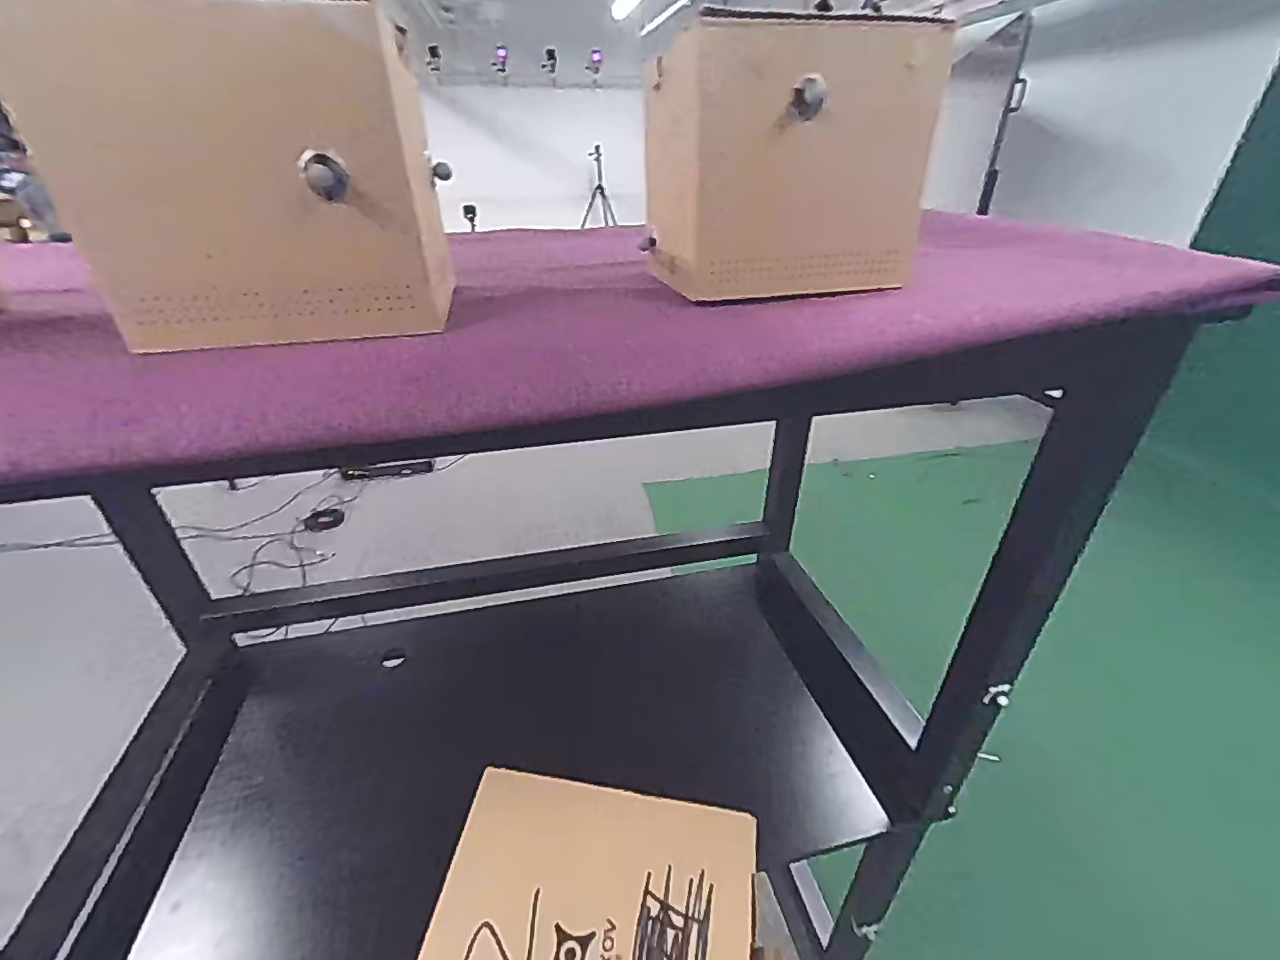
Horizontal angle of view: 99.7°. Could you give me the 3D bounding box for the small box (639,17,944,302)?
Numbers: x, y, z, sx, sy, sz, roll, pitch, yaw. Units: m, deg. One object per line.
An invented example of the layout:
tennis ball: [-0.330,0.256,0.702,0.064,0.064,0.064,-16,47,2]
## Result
small box: [0.102,-0.247,0.441,0.179,0.176,0.168,-7,30,-10]

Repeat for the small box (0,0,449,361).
small box: [-0.231,-0.188,0.356,0.179,0.176,0.168,-9,32,-12]
